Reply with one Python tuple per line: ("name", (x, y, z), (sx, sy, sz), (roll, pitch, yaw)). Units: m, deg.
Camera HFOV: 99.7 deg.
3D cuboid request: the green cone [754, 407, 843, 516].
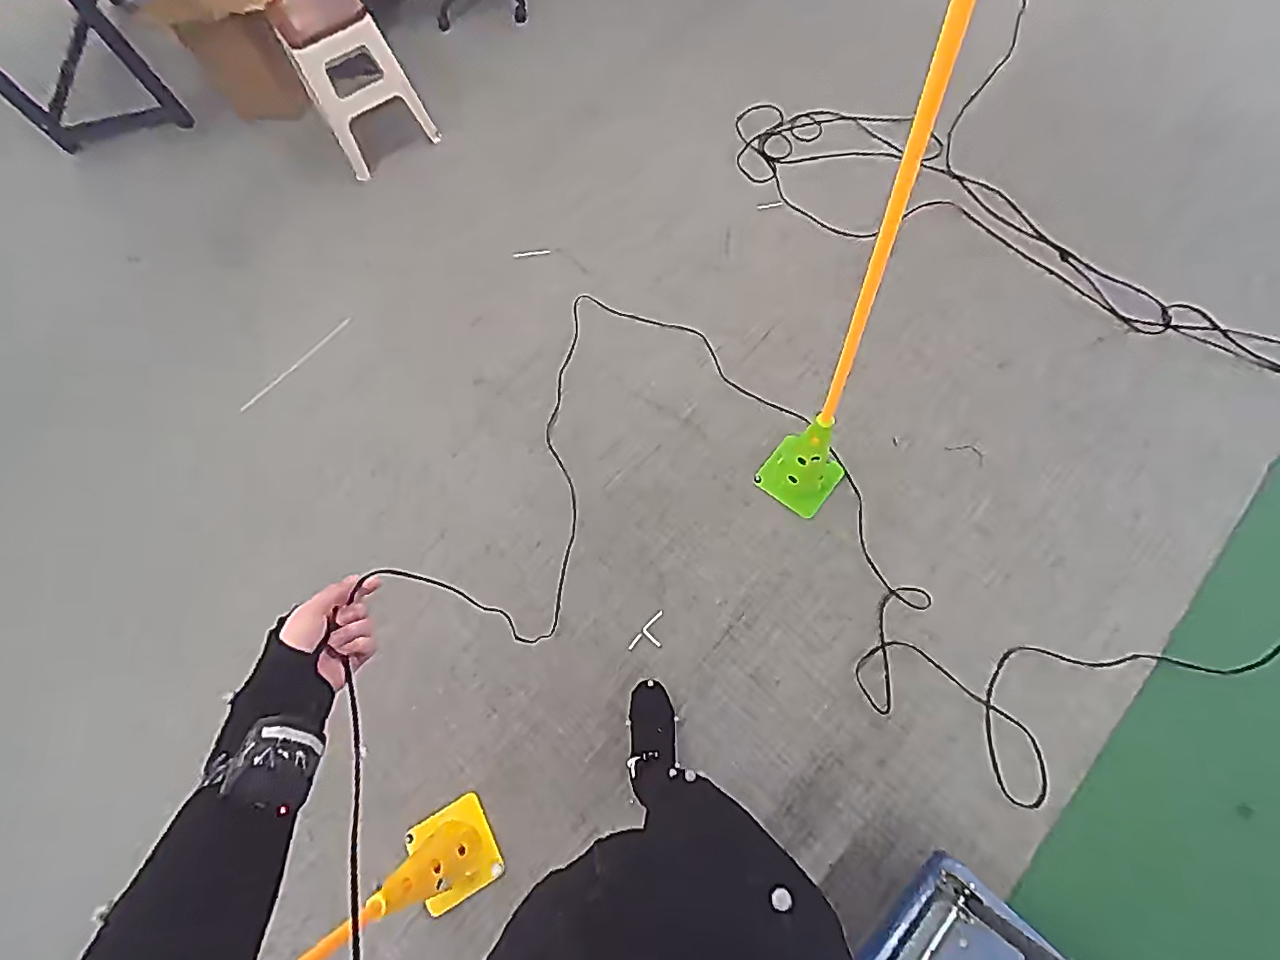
("green cone", (0.448, -0.081, 1.415), (0.200, 0.368, 0.202), (35, 75, 17))
